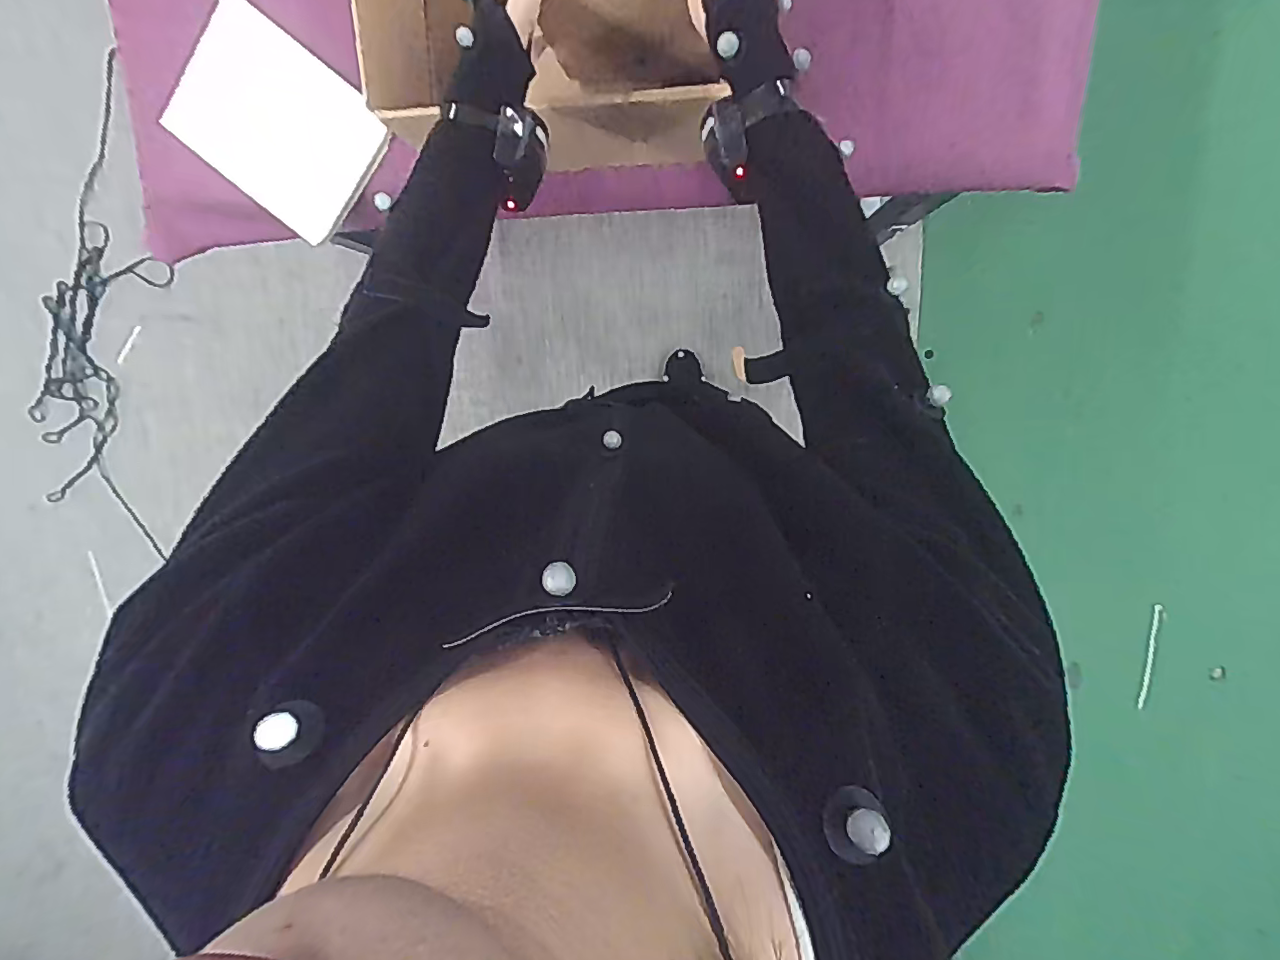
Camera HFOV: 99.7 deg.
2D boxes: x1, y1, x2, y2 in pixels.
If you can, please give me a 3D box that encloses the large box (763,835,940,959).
[{"bbox_3d":[0.611,1.316,1.572,0.408,0.320,0.320,-16,100,7],"label":"large box"}]
